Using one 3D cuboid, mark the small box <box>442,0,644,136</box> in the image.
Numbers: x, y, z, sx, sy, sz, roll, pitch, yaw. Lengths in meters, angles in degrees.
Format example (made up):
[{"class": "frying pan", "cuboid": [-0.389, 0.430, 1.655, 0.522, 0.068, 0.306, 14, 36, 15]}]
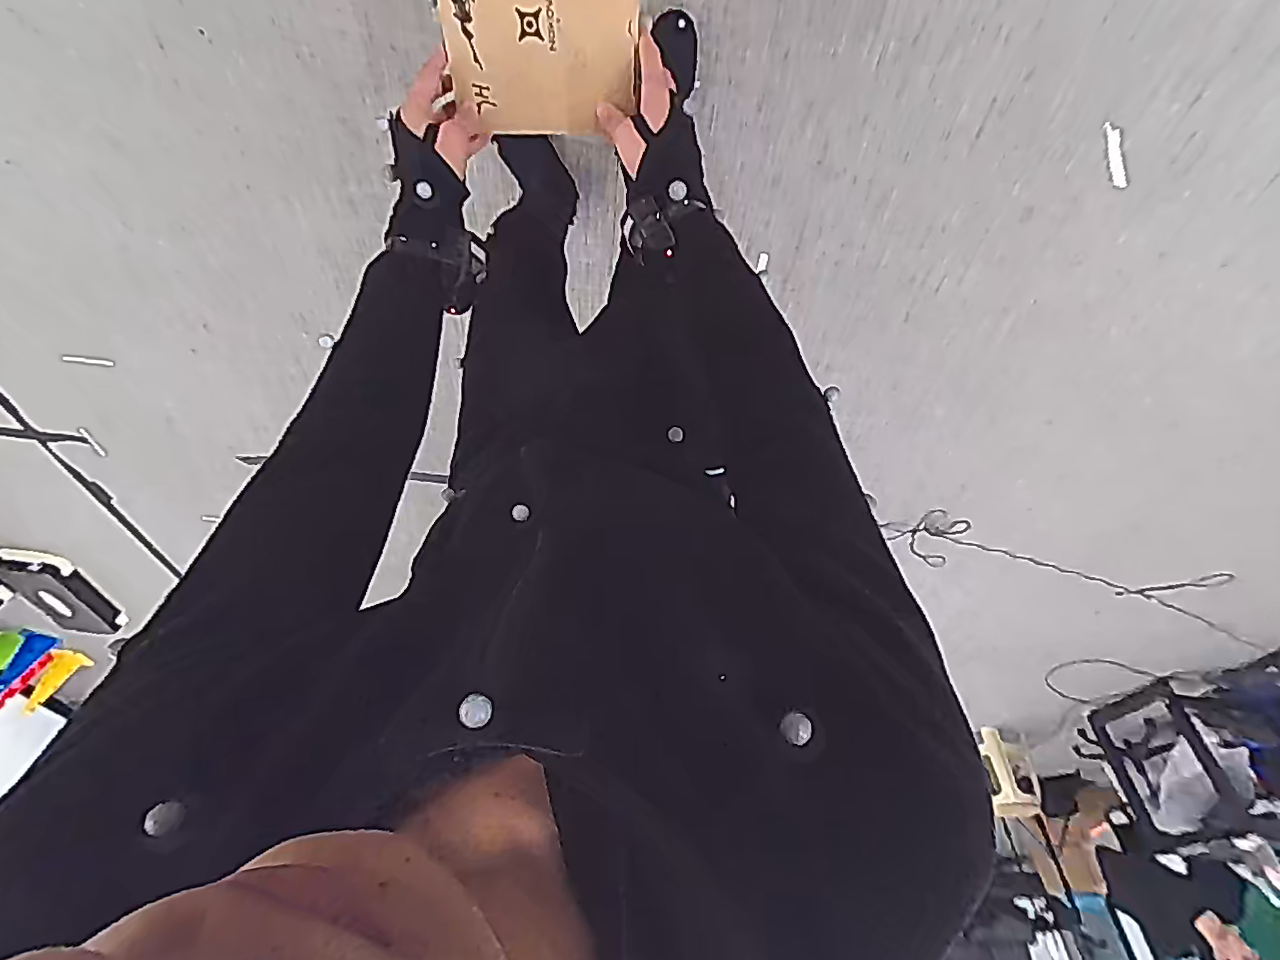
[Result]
[{"class": "small box", "cuboid": [-0.088, -0.456, 0.536, 0.179, 0.176, 0.168, -1, 133, -2]}]
